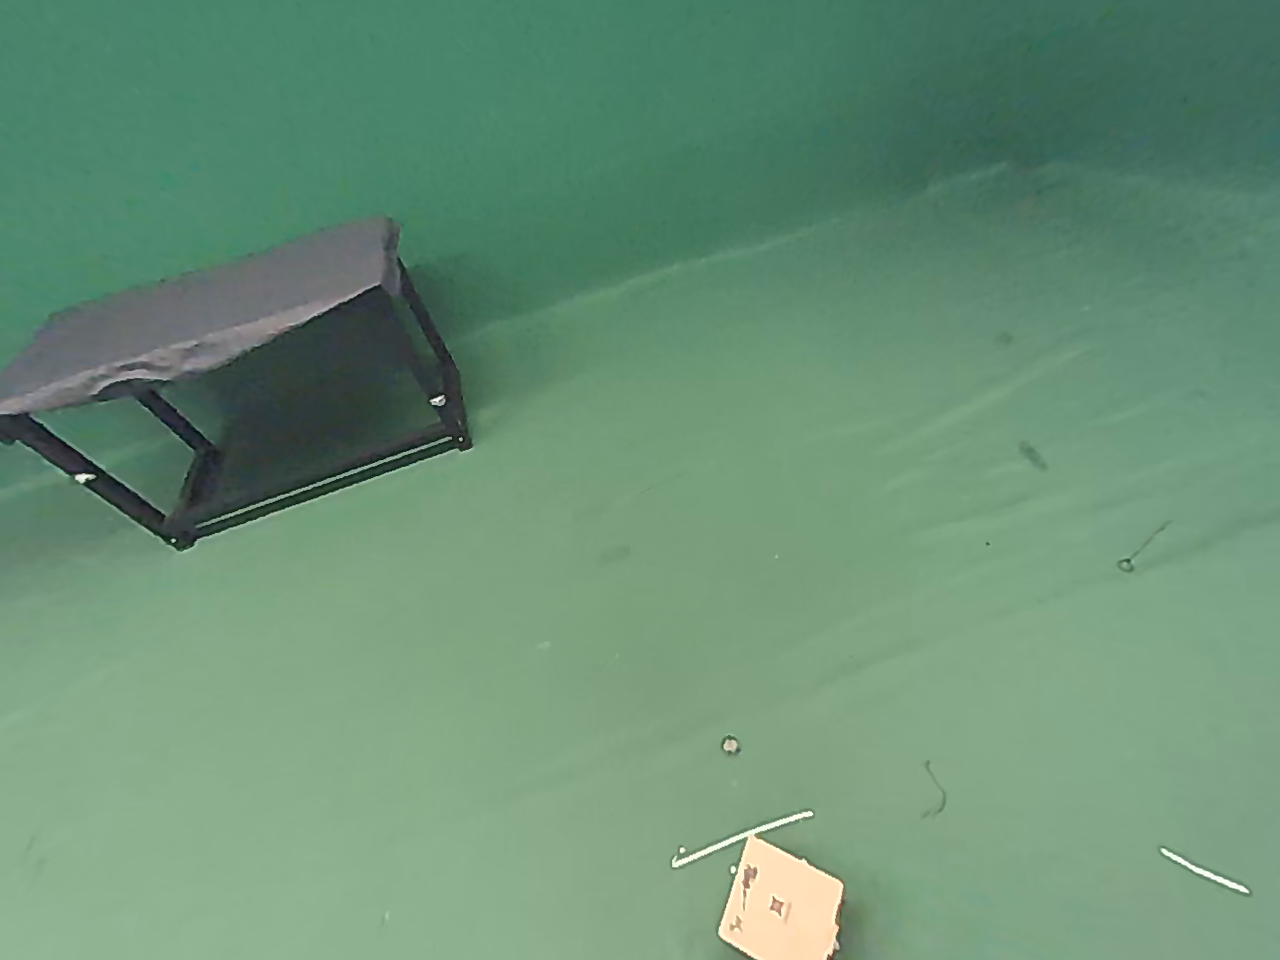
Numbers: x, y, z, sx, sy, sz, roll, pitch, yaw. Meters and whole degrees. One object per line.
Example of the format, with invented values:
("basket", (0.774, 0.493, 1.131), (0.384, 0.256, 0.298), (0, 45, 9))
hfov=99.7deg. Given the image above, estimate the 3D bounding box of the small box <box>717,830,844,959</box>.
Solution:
("small box", (0.258, 0.784, 0.993), (0.179, 0.176, 0.168), (15, 54, 25))
